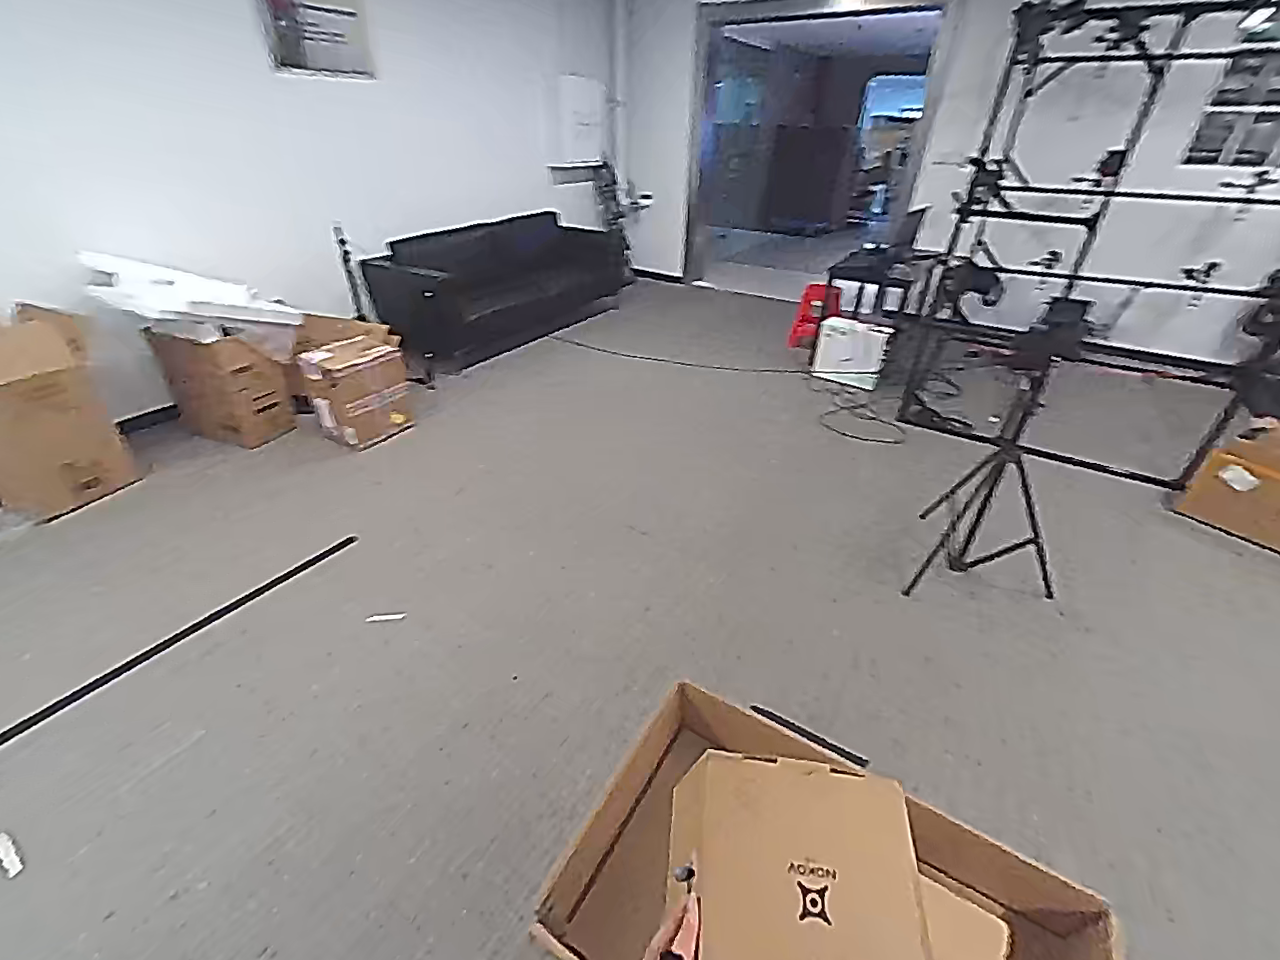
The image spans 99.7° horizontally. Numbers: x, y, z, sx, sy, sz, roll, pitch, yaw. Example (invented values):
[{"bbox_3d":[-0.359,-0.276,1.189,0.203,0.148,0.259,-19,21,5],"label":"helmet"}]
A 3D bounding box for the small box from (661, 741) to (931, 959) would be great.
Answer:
[{"bbox_3d":[0.113,0.343,0.452,0.168,0.176,0.179,9,50,-1],"label":"small box"}]
